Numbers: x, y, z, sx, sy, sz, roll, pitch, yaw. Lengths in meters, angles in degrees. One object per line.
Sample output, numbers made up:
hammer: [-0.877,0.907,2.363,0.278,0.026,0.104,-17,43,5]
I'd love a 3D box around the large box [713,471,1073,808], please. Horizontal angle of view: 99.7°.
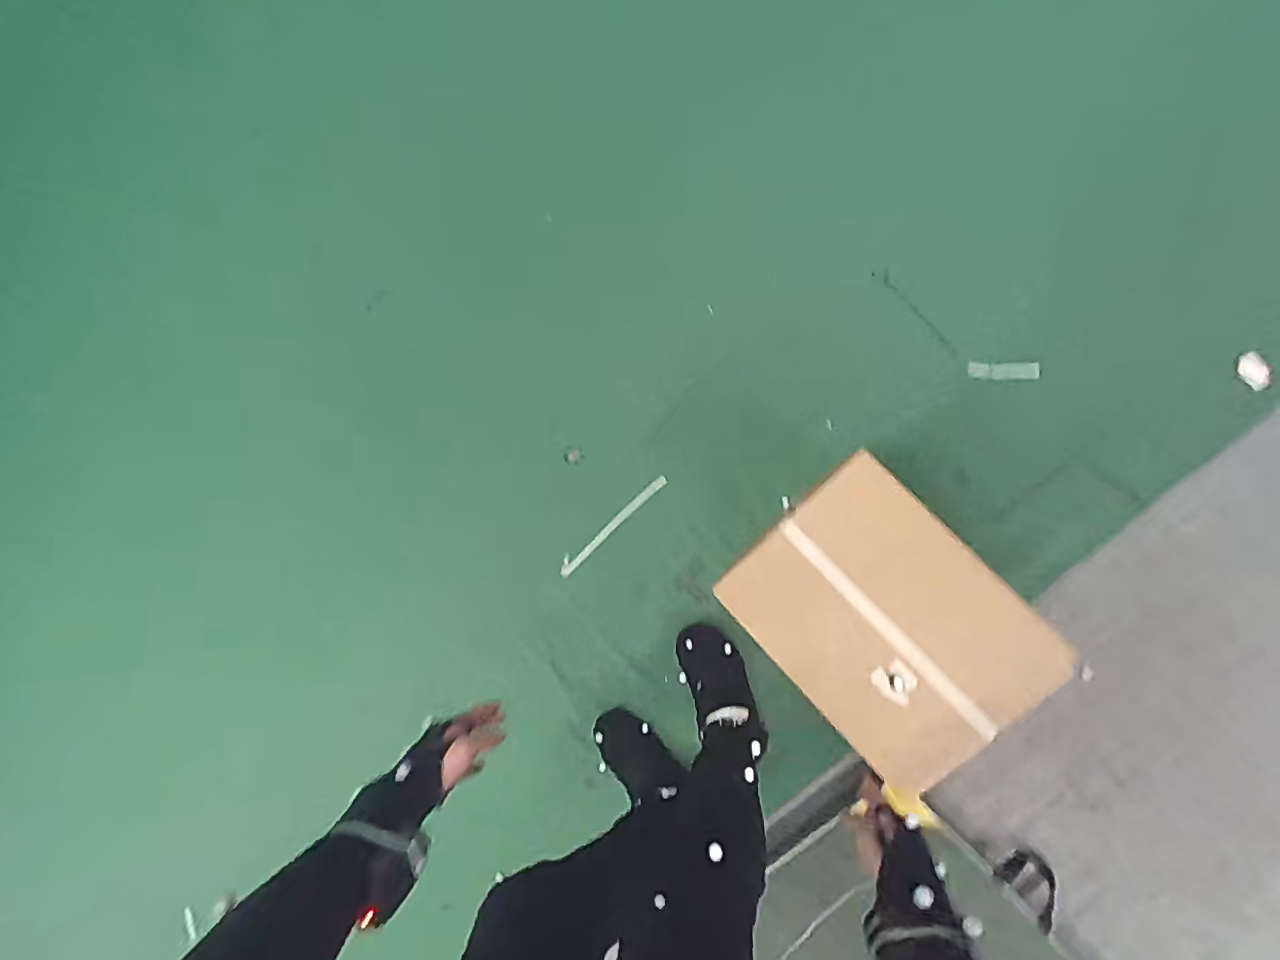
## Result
large box: [0.381,0.232,0.933,0.320,0.320,0.408,-44,80,9]
